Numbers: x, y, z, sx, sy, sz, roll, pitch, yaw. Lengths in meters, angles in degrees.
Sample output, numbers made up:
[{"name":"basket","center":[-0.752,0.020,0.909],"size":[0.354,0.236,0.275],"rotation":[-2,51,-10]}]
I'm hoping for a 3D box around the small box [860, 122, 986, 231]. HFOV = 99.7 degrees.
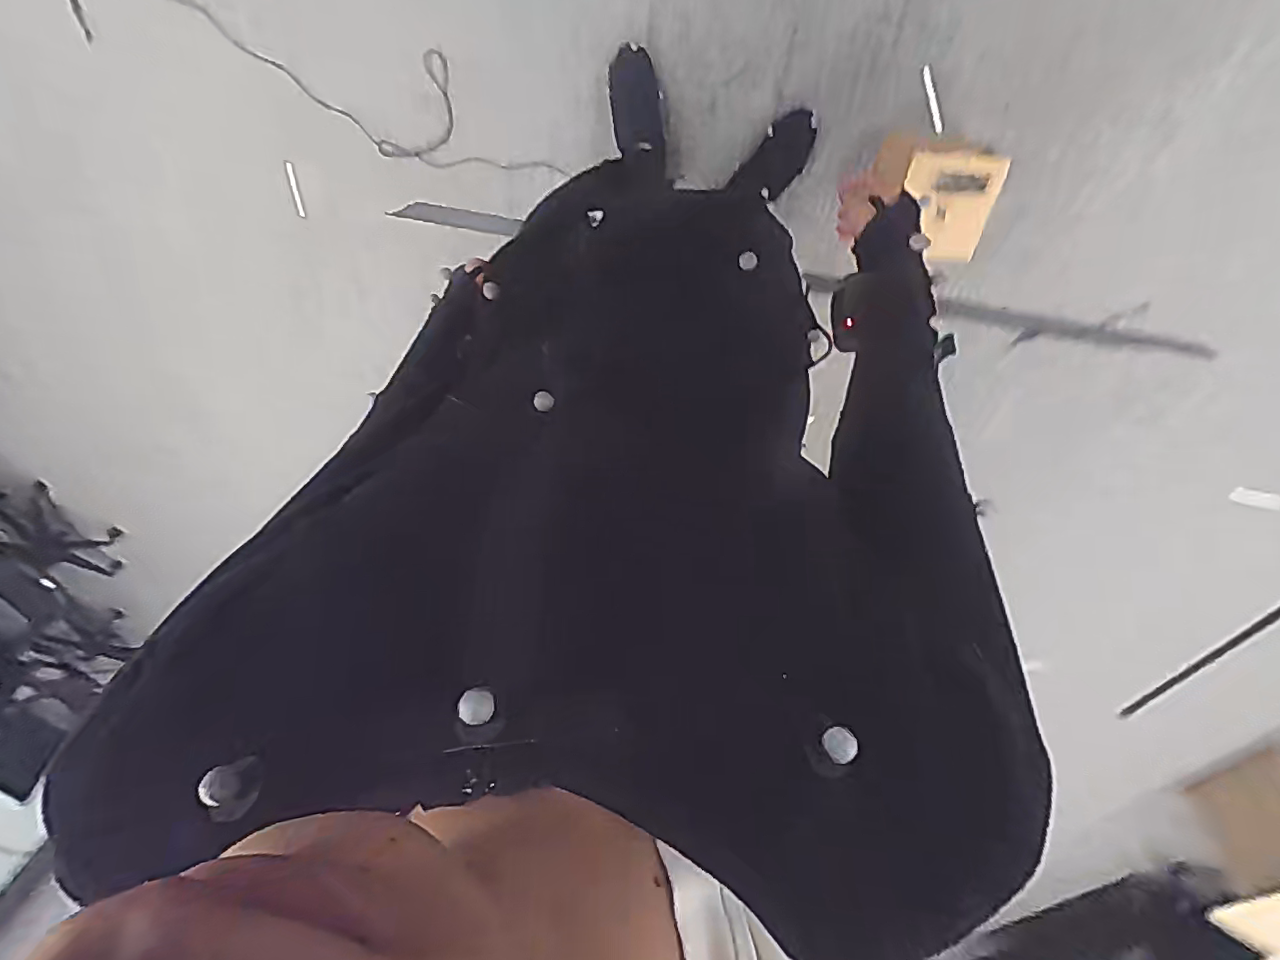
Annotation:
[{"name":"small box","center":[0.599,-0.661,1.172],"size":[0.179,0.176,0.168],"rotation":[11,132,4]}]
